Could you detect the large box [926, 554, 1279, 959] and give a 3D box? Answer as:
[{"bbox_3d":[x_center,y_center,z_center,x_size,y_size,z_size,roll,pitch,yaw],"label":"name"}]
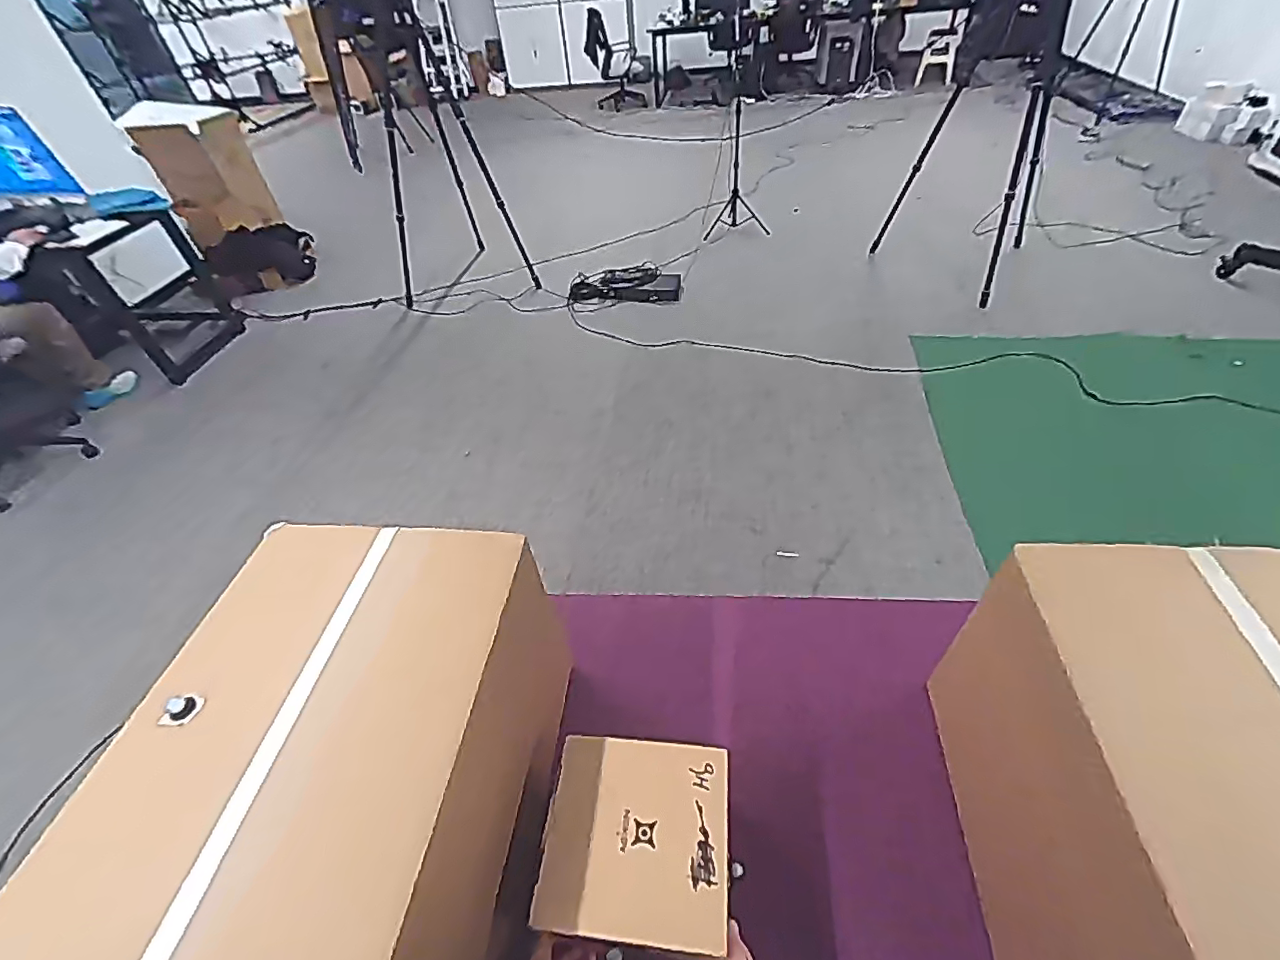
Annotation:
[{"bbox_3d":[0.513,0.324,0.495,0.320,0.320,0.408,2,46,8],"label":"large box"}]
